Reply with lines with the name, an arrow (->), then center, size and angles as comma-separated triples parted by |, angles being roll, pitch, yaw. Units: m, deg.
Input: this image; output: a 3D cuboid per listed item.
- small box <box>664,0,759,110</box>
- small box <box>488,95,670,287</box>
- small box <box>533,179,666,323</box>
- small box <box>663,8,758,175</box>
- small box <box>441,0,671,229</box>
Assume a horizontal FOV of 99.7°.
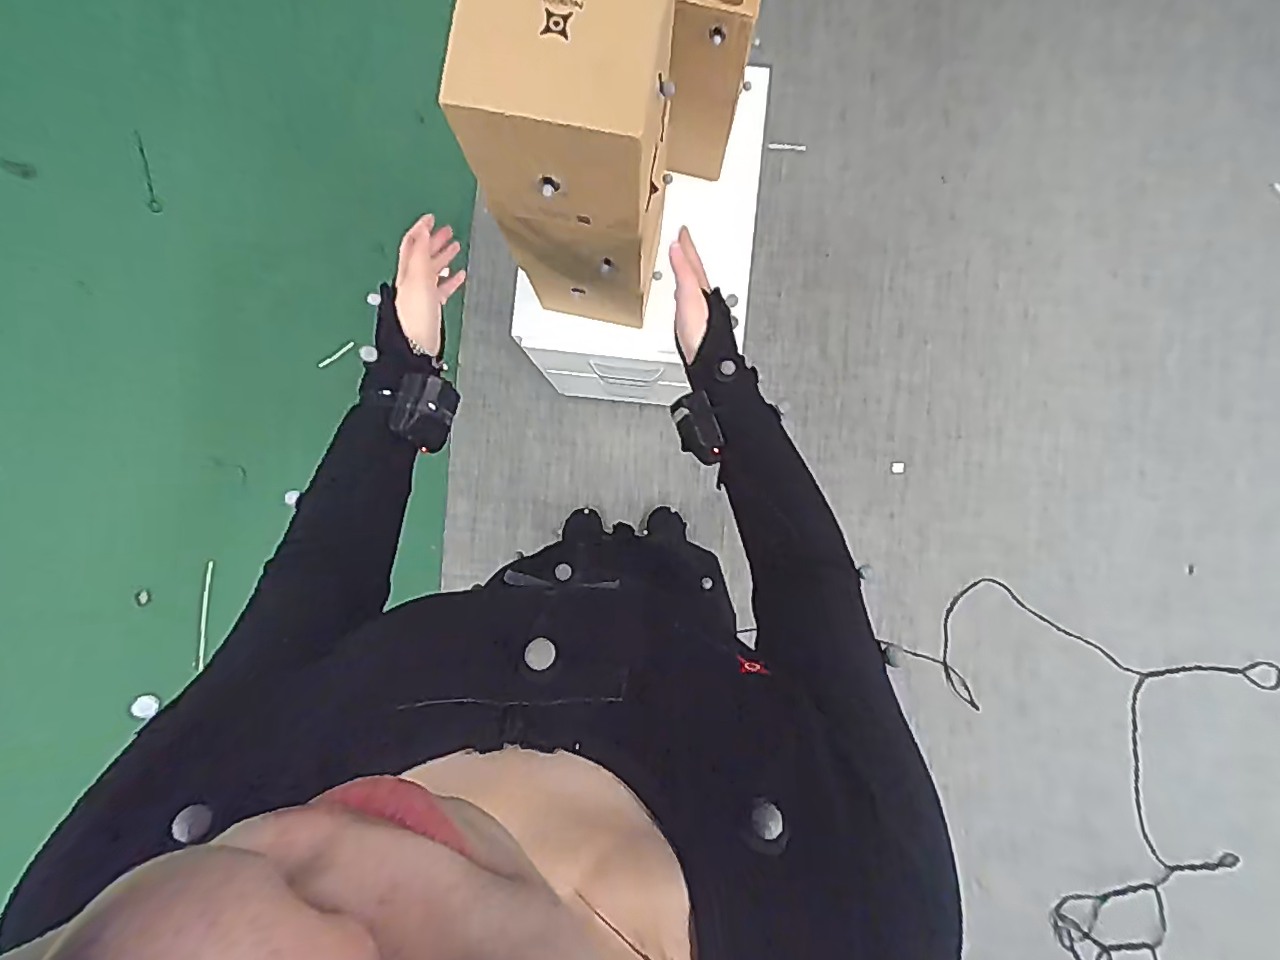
small box -> 0.061, -0.610, 0.681 | 0.179, 0.176, 0.168 | 12, 89, -1
small box -> -0.067, -0.360, 0.676 | 0.179, 0.176, 0.168 | 11, 87, 0
small box -> -0.065, -0.359, 0.838 | 0.179, 0.176, 0.168 | 12, 88, -1
small box -> 0.066, -0.611, 0.843 | 0.179, 0.176, 0.168 | 13, 90, 0
small box -> -0.065, -0.368, 0.511 | 0.168, 0.176, 0.179 | 10, 87, -1
